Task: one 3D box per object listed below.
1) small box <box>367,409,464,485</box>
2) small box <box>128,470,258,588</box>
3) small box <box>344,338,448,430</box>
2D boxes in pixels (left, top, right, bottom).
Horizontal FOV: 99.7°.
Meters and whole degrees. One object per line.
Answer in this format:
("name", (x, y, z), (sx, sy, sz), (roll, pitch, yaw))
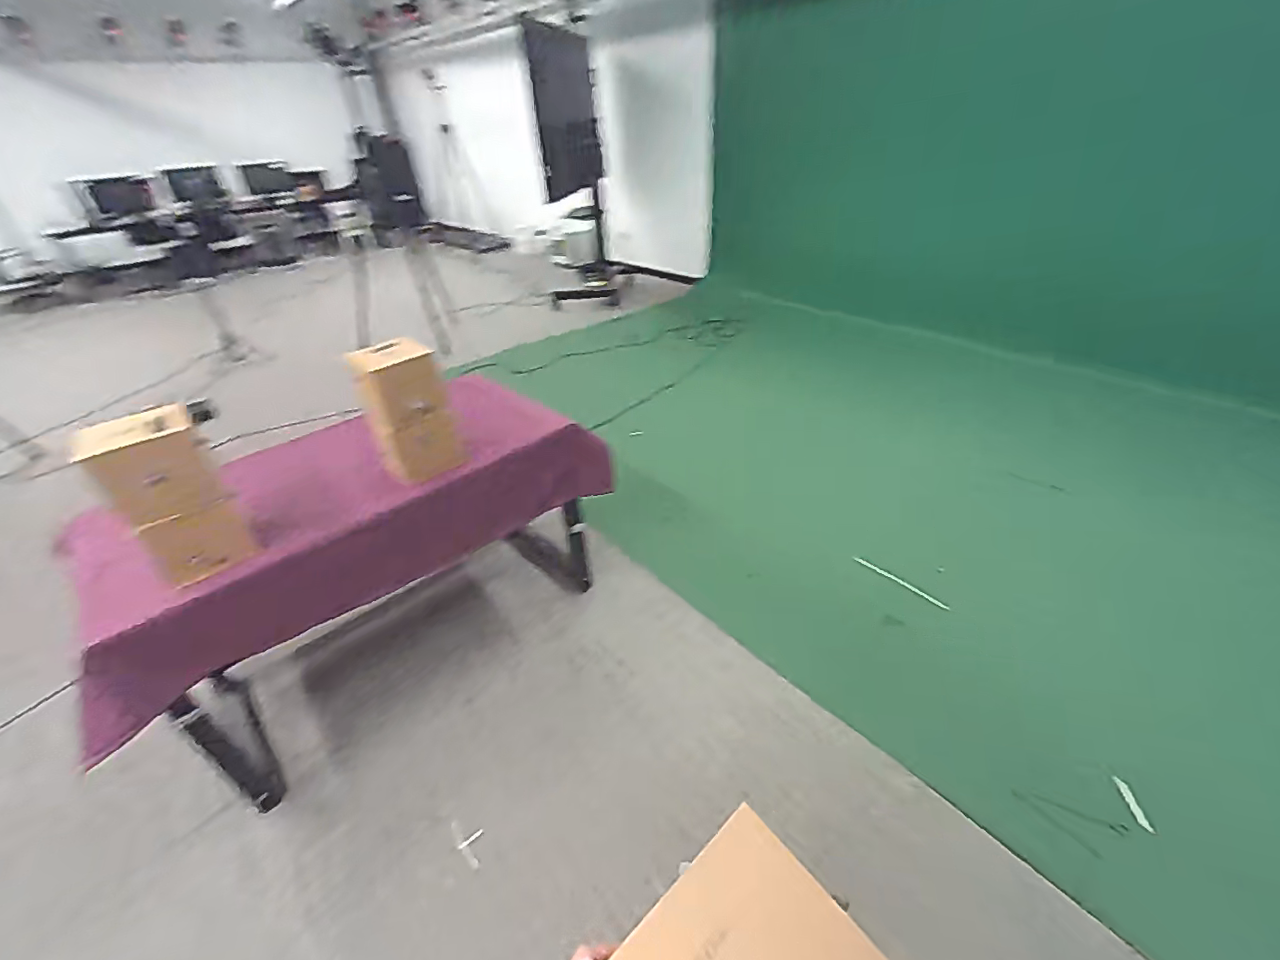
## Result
("small box", (-0.610, -0.110, 1.485), (0.179, 0.176, 0.168), (-29, 42, -32))
("small box", (-0.997, 0.109, 1.211), (0.168, 0.176, 0.179), (-29, 42, -32))
("small box", (-0.626, -0.248, 1.396), (0.168, 0.176, 0.179), (-32, 44, -33))
